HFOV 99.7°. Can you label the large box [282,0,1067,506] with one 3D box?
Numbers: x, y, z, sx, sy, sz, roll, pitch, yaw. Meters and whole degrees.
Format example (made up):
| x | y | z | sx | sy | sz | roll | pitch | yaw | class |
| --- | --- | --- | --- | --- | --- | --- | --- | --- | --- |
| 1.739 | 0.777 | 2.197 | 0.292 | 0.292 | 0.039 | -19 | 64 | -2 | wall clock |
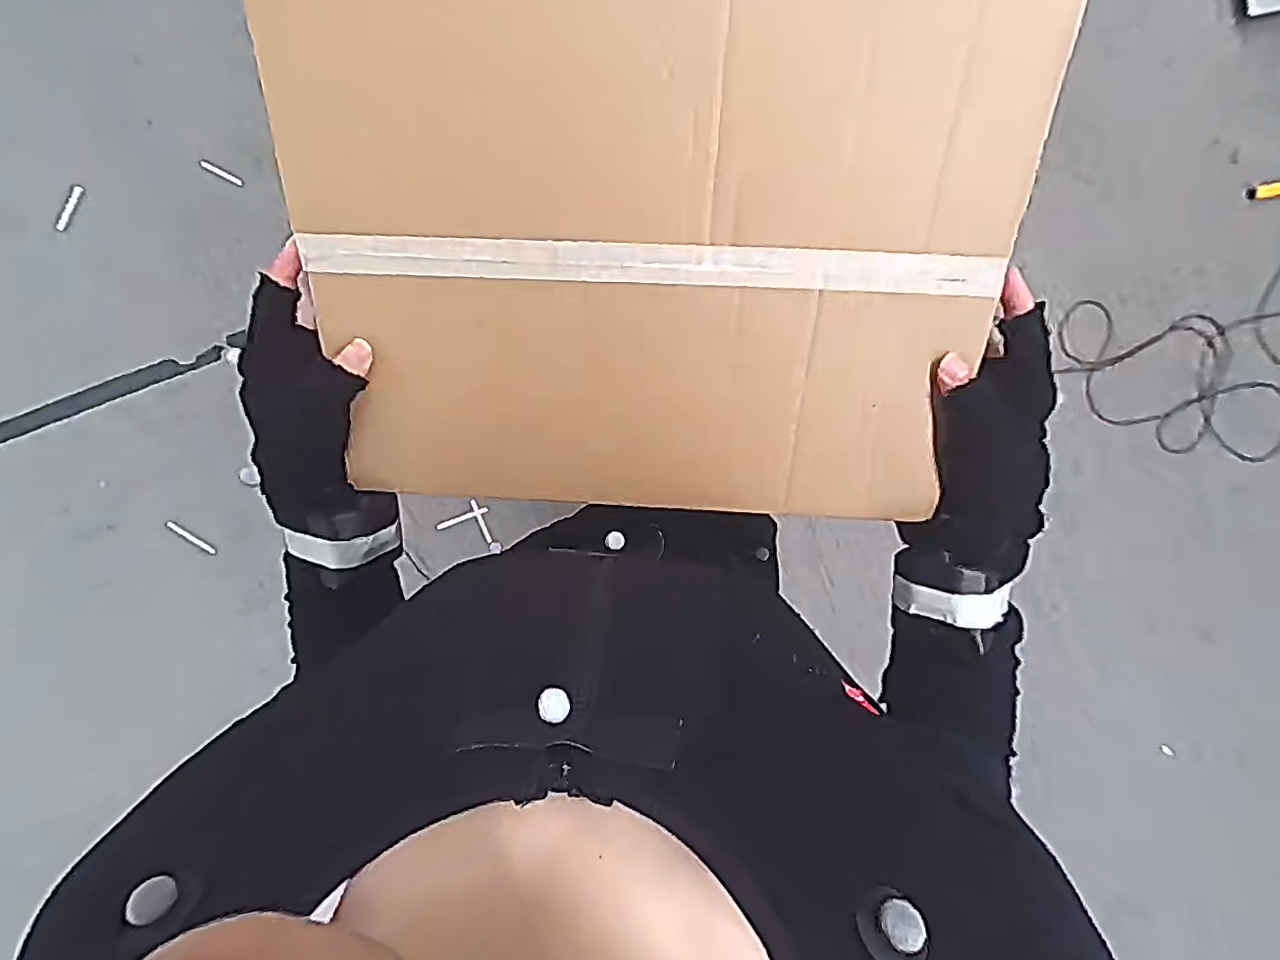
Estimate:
| x | y | z | sx | sy | sz | roll | pitch | yaw | class |
| --- | --- | --- | --- | --- | --- | --- | --- | --- | --- |
| 0.014 | -0.189 | 0.458 | 0.408 | 0.320 | 0.320 | 3 | 115 | 2 | large box |
